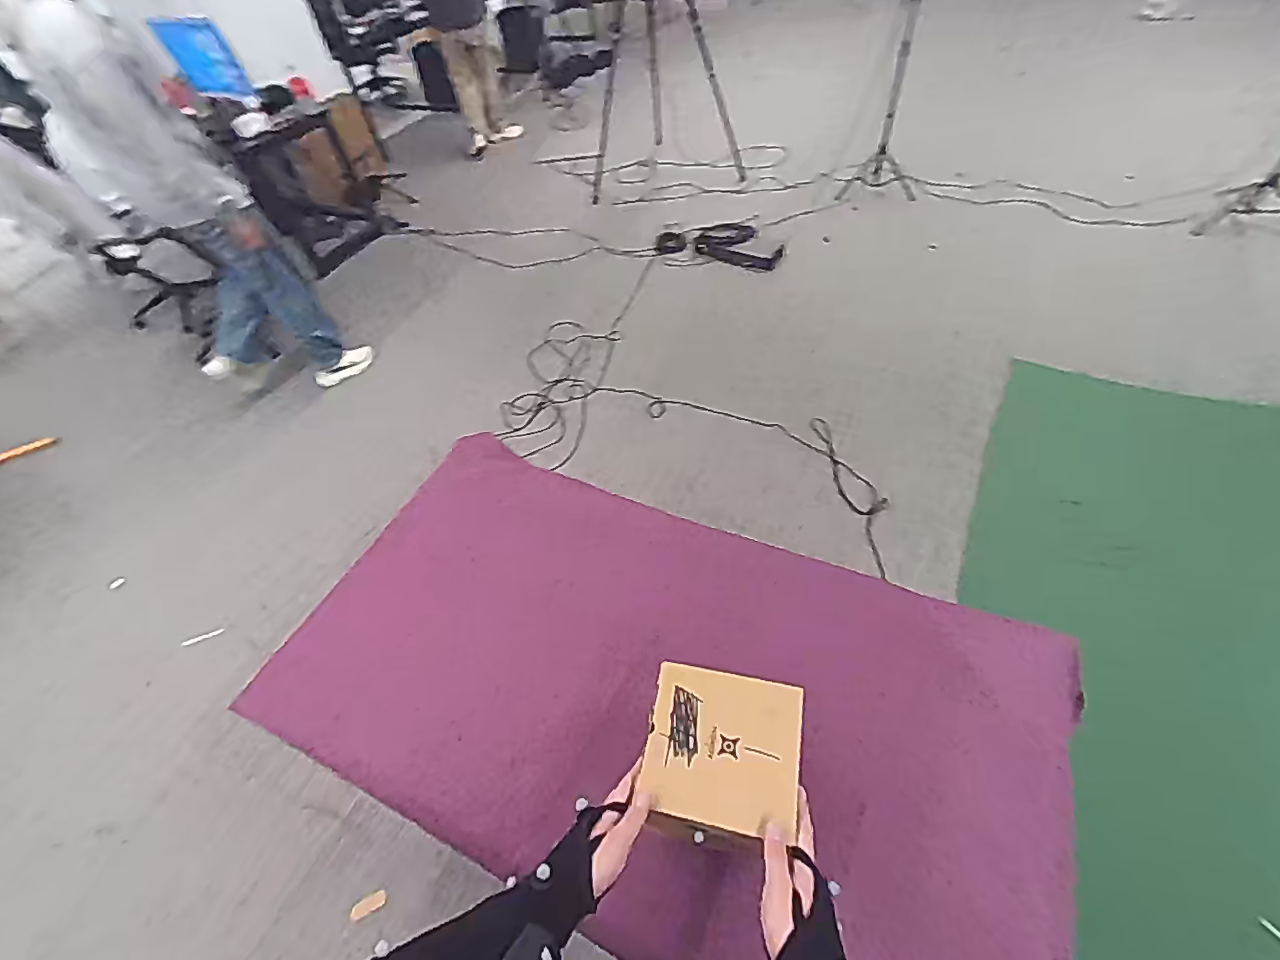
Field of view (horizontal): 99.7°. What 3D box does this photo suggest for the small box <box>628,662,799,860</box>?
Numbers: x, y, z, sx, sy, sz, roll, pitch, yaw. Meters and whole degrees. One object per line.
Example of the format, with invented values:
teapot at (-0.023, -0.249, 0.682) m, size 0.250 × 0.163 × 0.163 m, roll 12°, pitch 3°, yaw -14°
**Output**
small box at (0.095, 0.353, 0.676) m, size 0.179 × 0.176 × 0.168 m, roll 8°, pitch 51°, yaw 12°
